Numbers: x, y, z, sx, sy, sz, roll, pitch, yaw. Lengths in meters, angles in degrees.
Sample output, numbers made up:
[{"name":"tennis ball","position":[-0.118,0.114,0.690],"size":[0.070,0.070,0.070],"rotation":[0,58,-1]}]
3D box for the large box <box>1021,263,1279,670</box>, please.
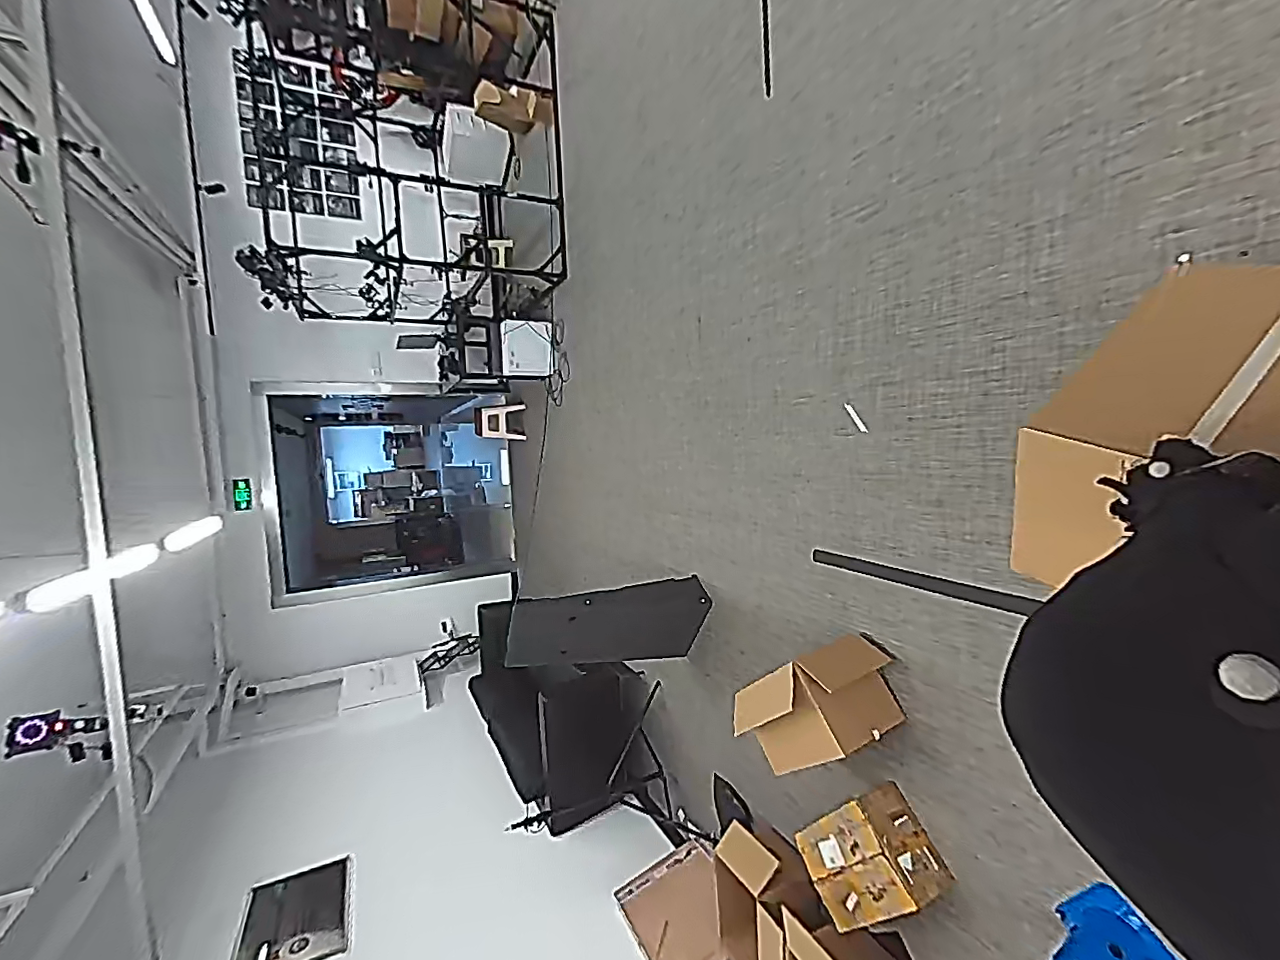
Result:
[{"name":"large box","position":[0.784,-0.039,0.728],"size":[0.320,0.408,0.320],"rotation":[34,158,49]}]
